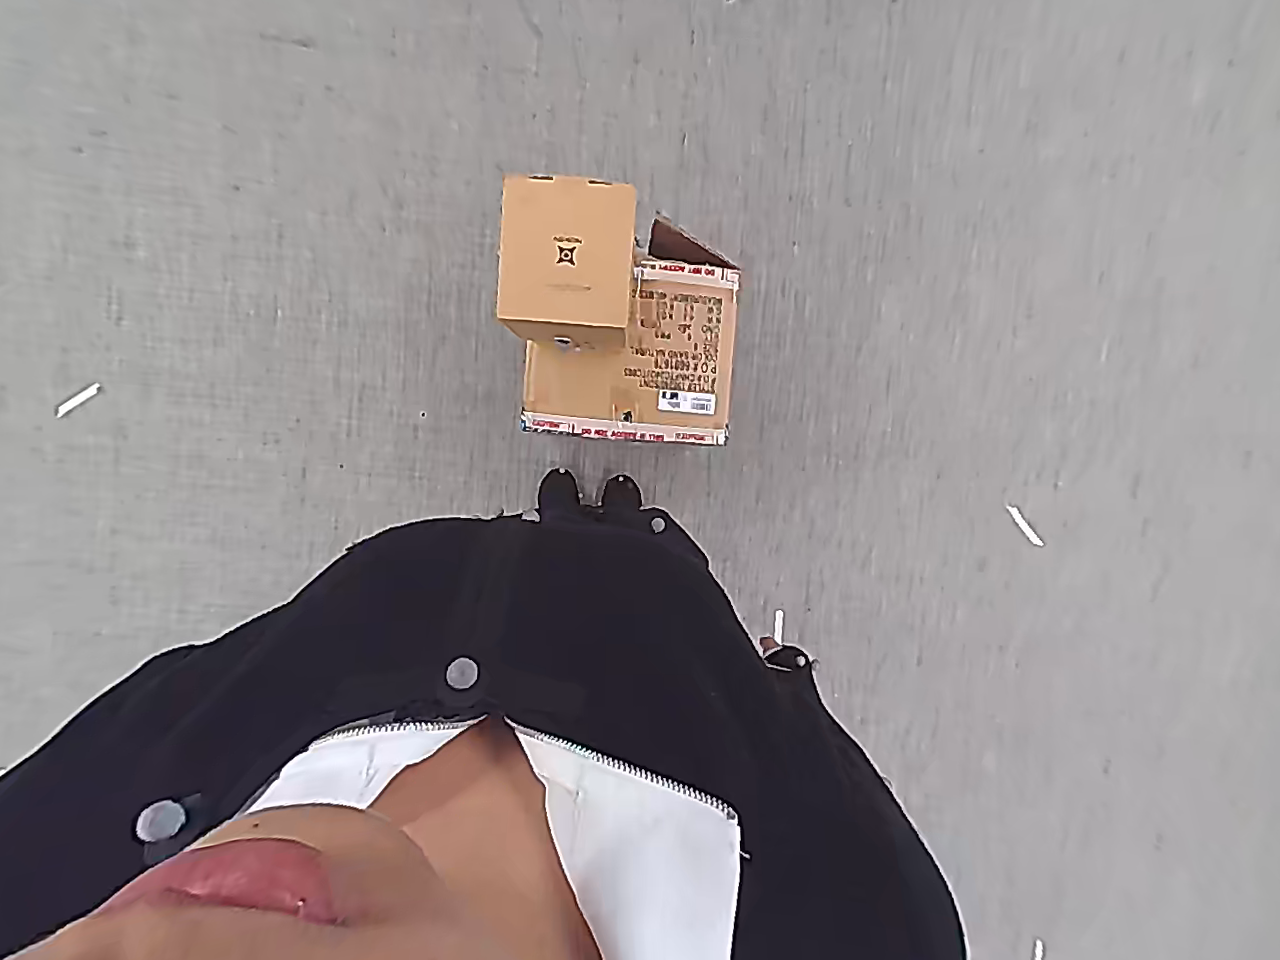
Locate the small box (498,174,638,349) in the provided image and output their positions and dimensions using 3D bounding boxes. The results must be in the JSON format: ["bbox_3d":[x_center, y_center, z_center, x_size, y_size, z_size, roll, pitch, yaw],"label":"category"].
[{"bbox_3d":[-0.092,-0.288,0.746,0.168,0.176,0.179,4,95,-1],"label":"small box"}]
